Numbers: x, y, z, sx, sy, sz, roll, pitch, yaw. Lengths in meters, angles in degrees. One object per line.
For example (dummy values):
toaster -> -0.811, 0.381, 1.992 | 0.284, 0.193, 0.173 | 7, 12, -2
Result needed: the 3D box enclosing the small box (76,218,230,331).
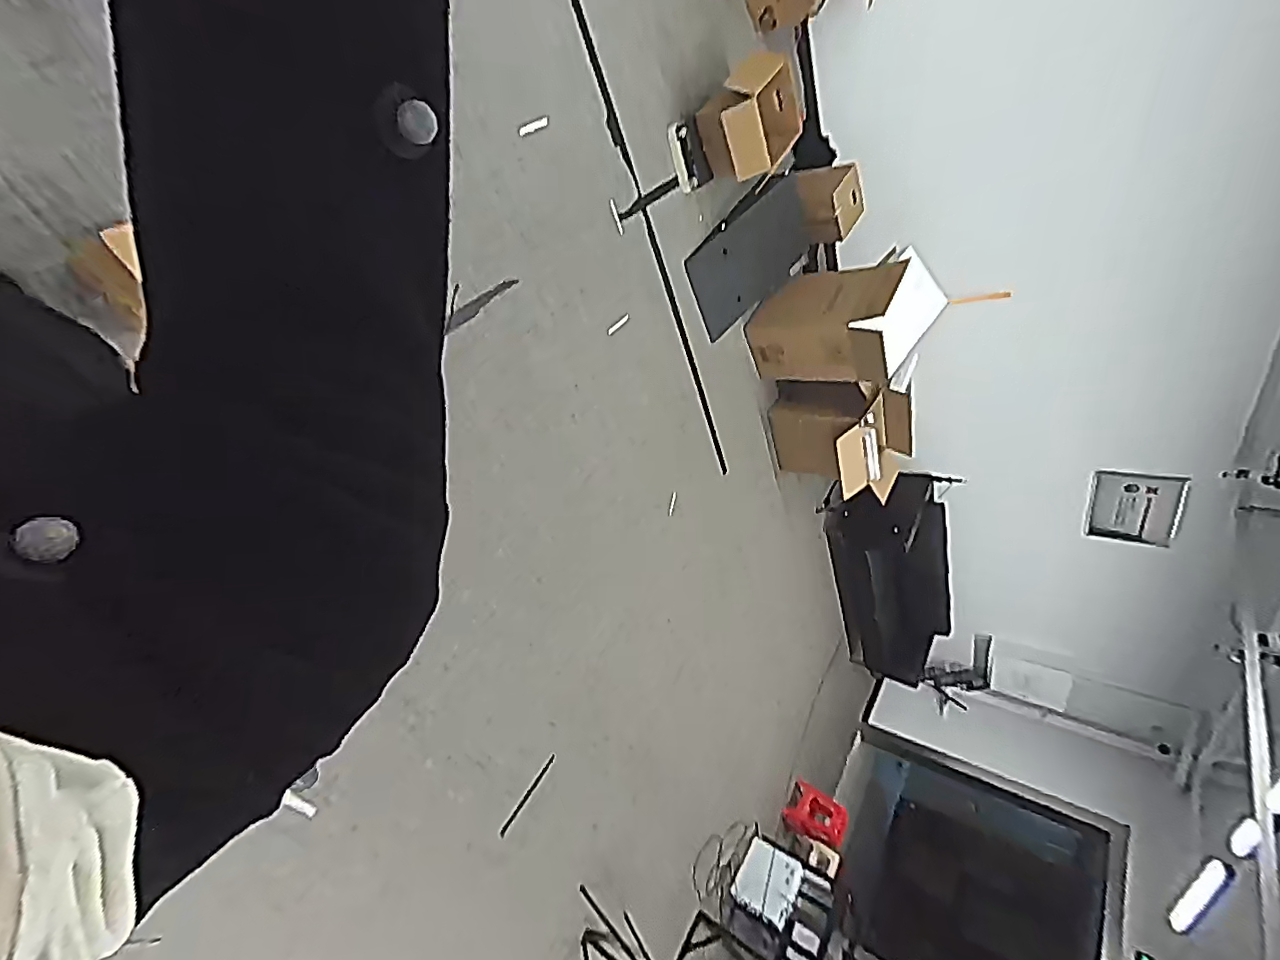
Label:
small box -> -1.045, -0.436, 1.160 | 0.179, 0.176, 0.168 | -51, 133, -31
